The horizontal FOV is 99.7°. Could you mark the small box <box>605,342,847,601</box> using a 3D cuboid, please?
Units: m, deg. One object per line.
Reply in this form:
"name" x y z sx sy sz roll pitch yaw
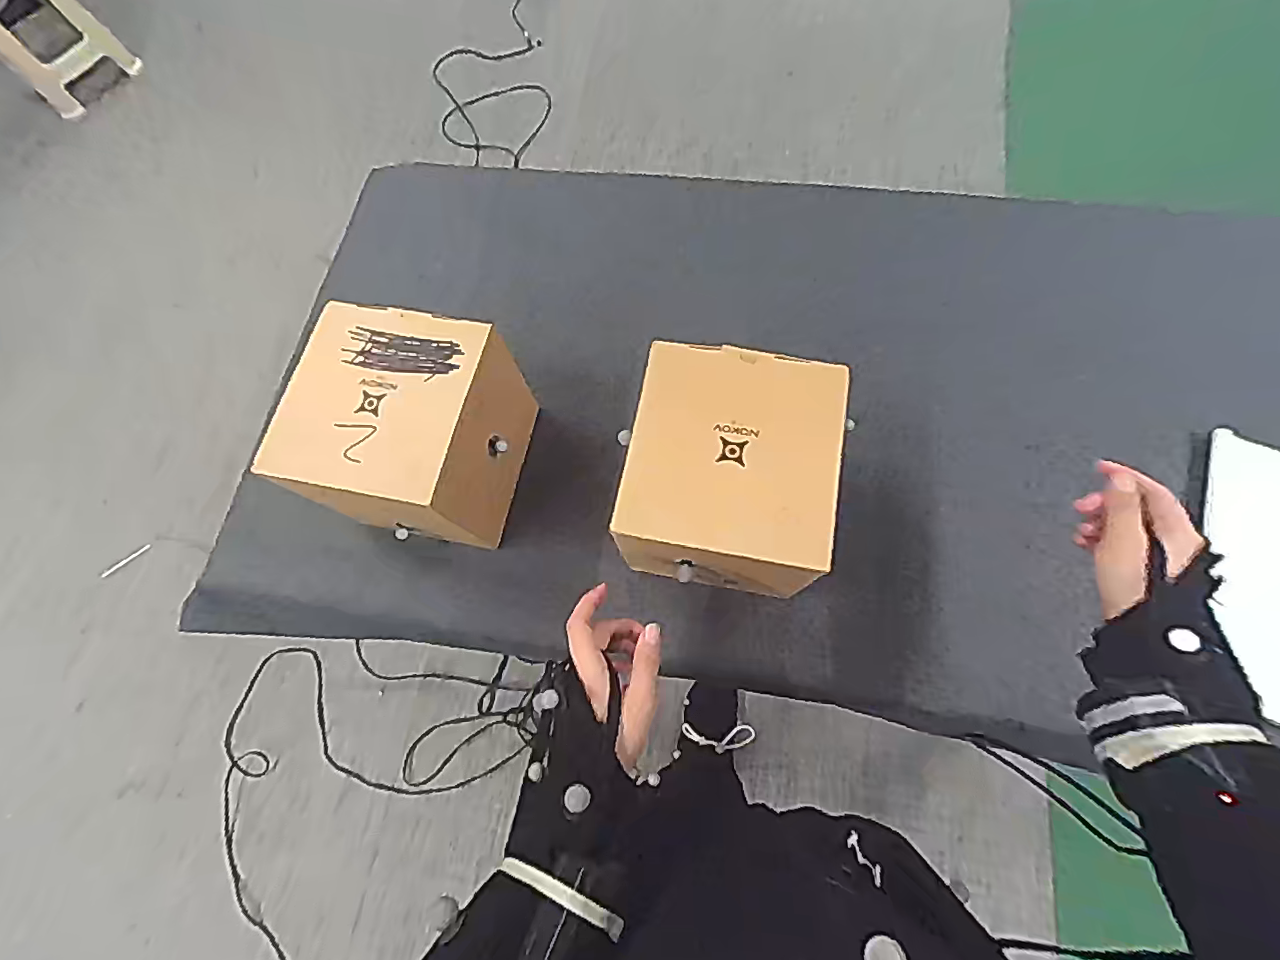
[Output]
"small box" 0.077 0.003 0.493 0.168 0.176 0.179 10 70 9
